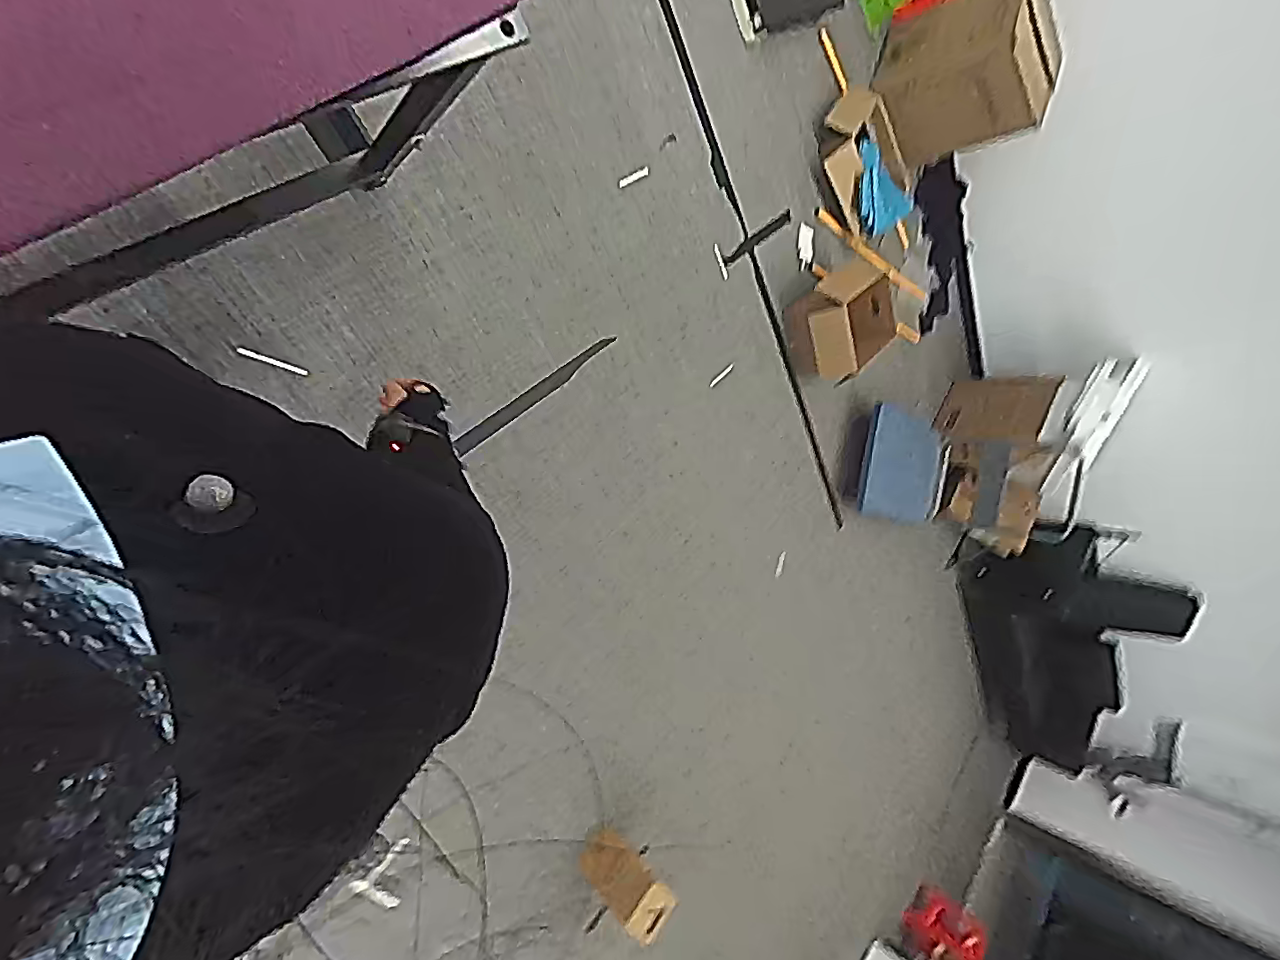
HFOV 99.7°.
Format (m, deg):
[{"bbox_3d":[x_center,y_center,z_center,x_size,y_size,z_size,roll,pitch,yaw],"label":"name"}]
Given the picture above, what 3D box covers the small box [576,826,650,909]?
[{"bbox_3d":[-0.102,1.446,2.026,0.168,0.176,0.179,-49,124,-25],"label":"small box"}]
